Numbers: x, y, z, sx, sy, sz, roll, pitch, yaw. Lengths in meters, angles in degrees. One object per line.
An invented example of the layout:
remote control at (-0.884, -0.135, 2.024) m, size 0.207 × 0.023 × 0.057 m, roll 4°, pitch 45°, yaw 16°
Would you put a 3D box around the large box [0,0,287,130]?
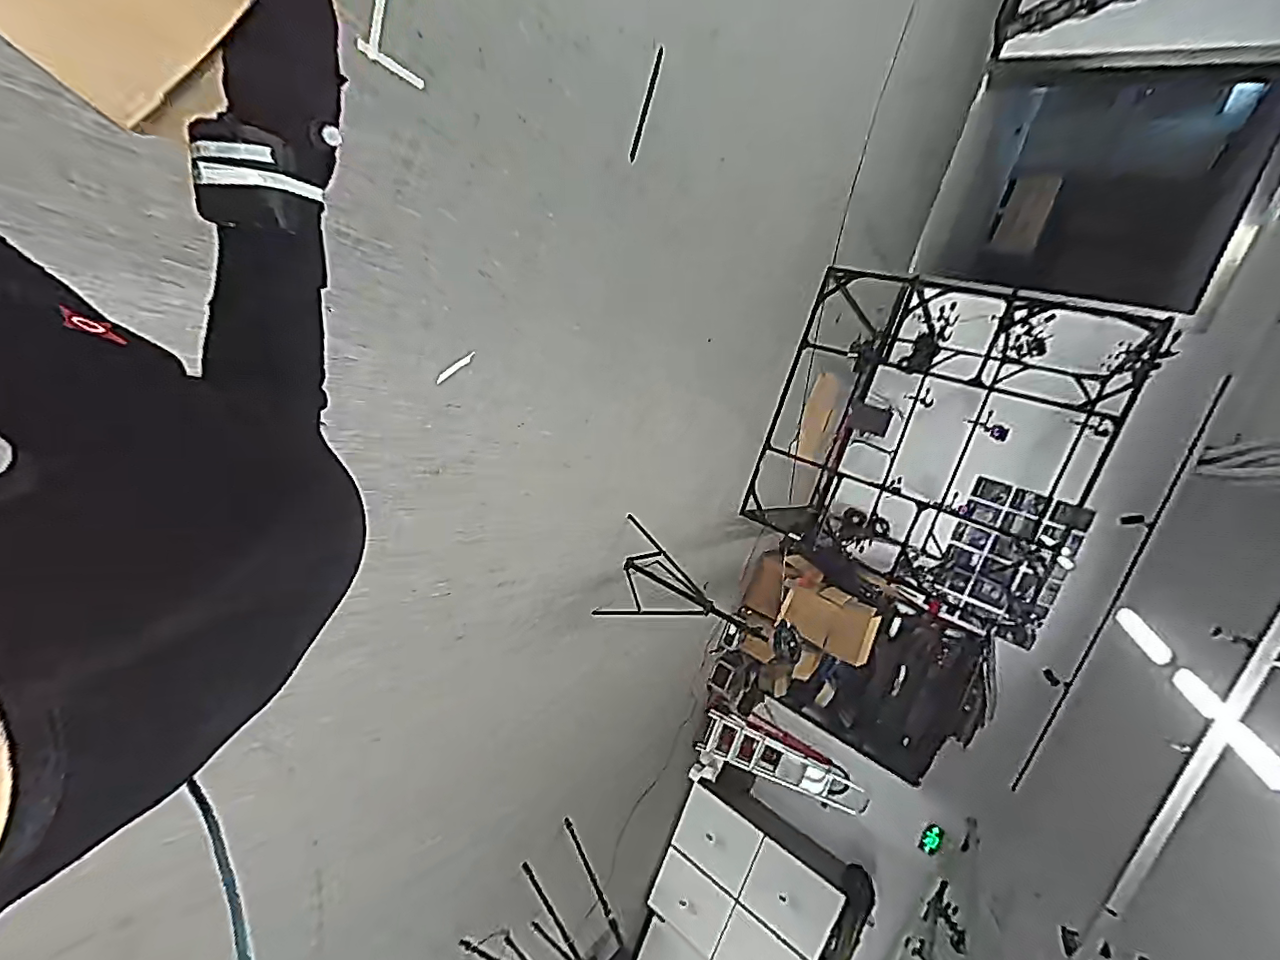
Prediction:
large box at (-0.417, -0.500, 0.319) m, size 0.320 × 0.320 × 0.408 m, roll -49°, pitch 136°, yaw 0°
